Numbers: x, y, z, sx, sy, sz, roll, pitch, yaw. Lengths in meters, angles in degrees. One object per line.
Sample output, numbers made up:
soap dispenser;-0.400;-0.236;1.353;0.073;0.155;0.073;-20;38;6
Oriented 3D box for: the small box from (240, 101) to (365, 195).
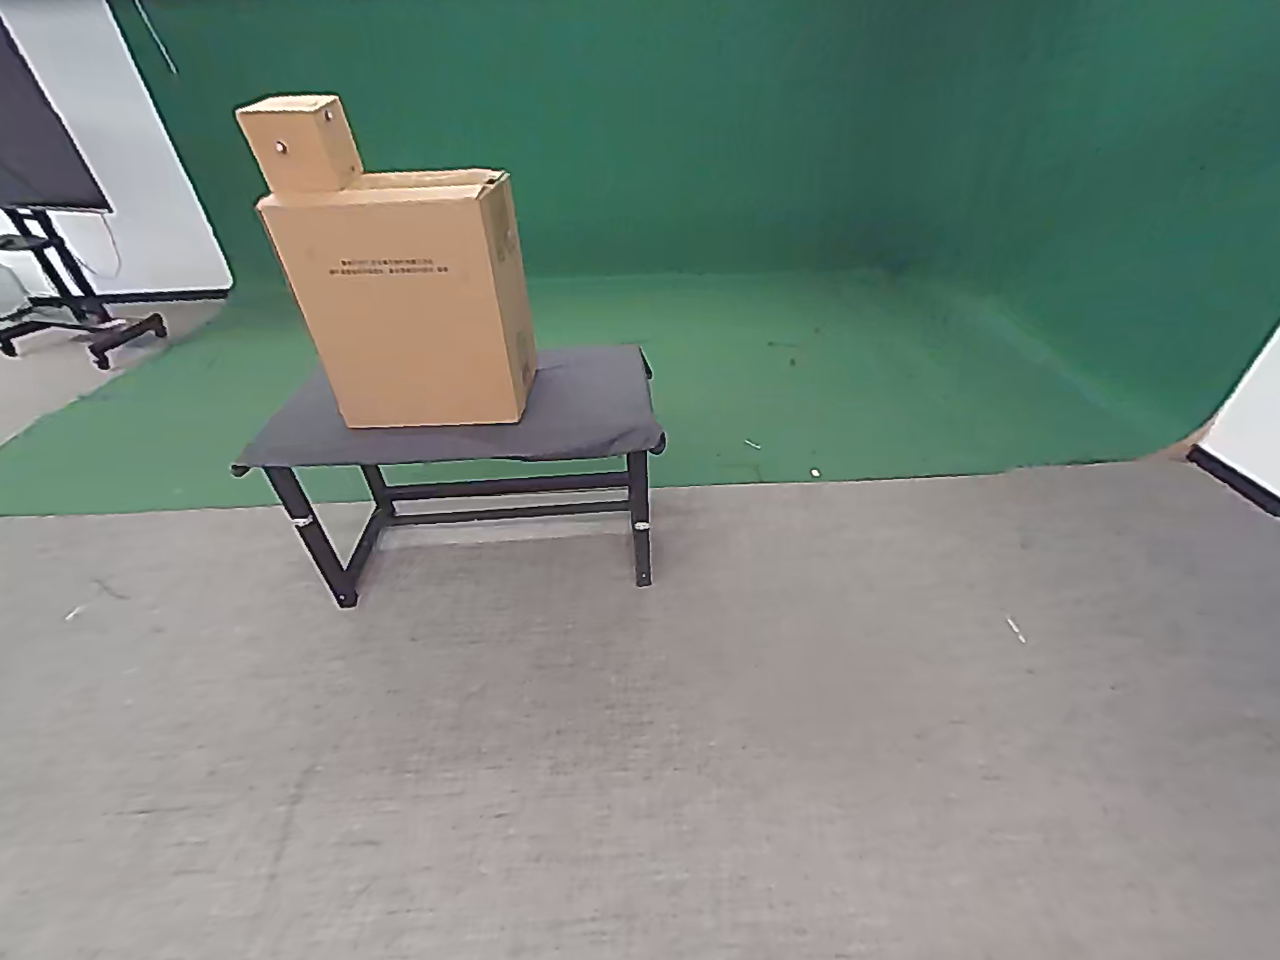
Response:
small box;-0.821;-0.818;1.336;0.179;0.176;0.168;-2;45;1
